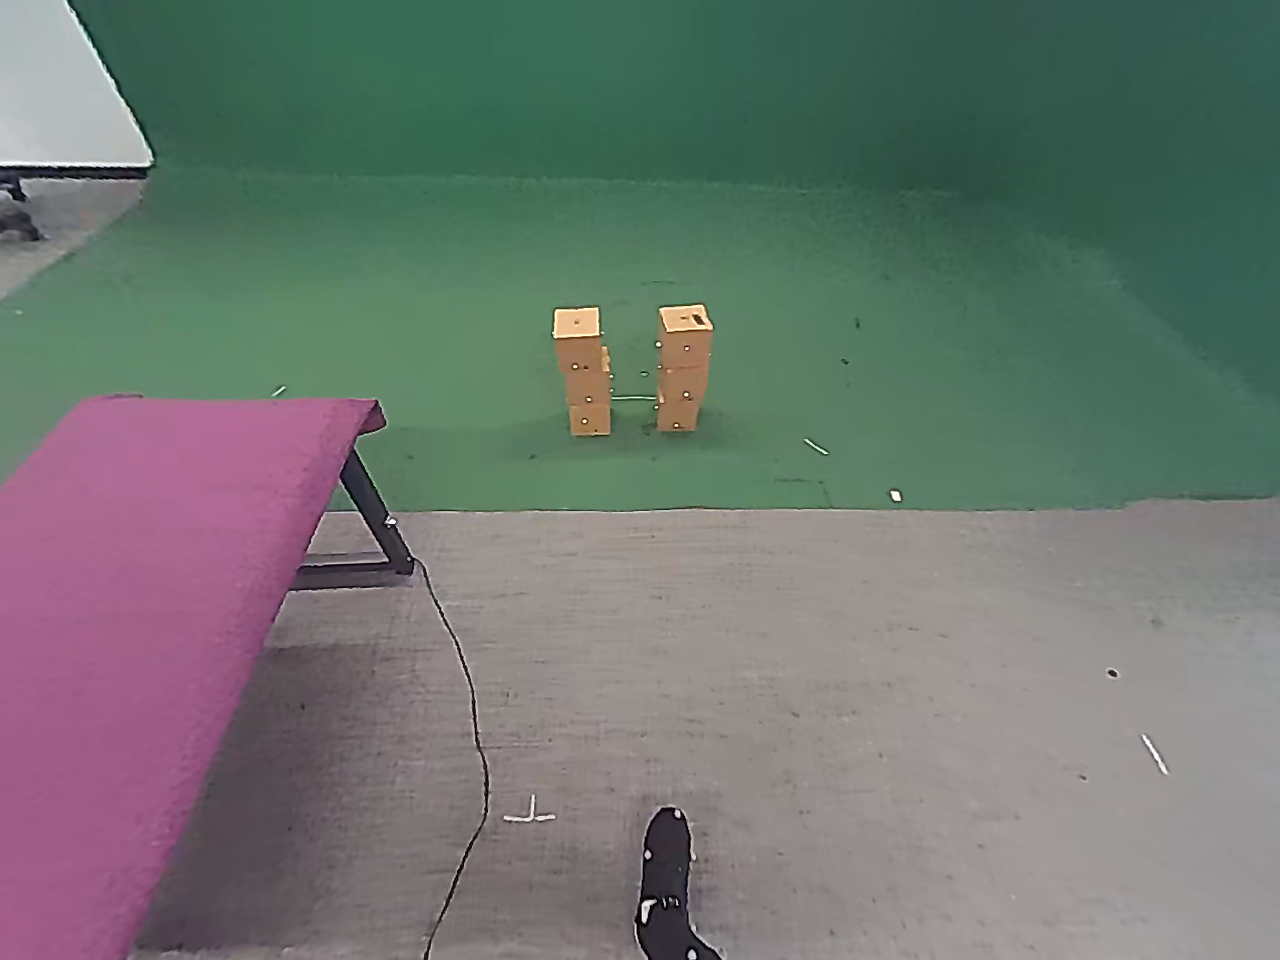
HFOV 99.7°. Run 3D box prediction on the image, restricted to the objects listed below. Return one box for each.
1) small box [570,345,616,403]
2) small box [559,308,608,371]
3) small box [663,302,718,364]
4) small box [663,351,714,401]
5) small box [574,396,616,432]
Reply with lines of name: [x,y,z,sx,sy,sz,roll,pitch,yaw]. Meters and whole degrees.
small box: [-0.190,-0.425,2.177,0.179,0.176,0.168,-3,49,-4]
small box: [-0.212,-0.533,2.054,0.168,0.176,0.179,-4,49,-1]
small box: [0.189,-0.564,2.081,0.179,0.176,0.168,-6,50,-5]
small box: [0.191,-0.443,2.195,0.168,0.176,0.179,-8,50,-7]
small box: [-0.186,-0.317,2.300,0.168,0.176,0.179,-2,48,-2]
